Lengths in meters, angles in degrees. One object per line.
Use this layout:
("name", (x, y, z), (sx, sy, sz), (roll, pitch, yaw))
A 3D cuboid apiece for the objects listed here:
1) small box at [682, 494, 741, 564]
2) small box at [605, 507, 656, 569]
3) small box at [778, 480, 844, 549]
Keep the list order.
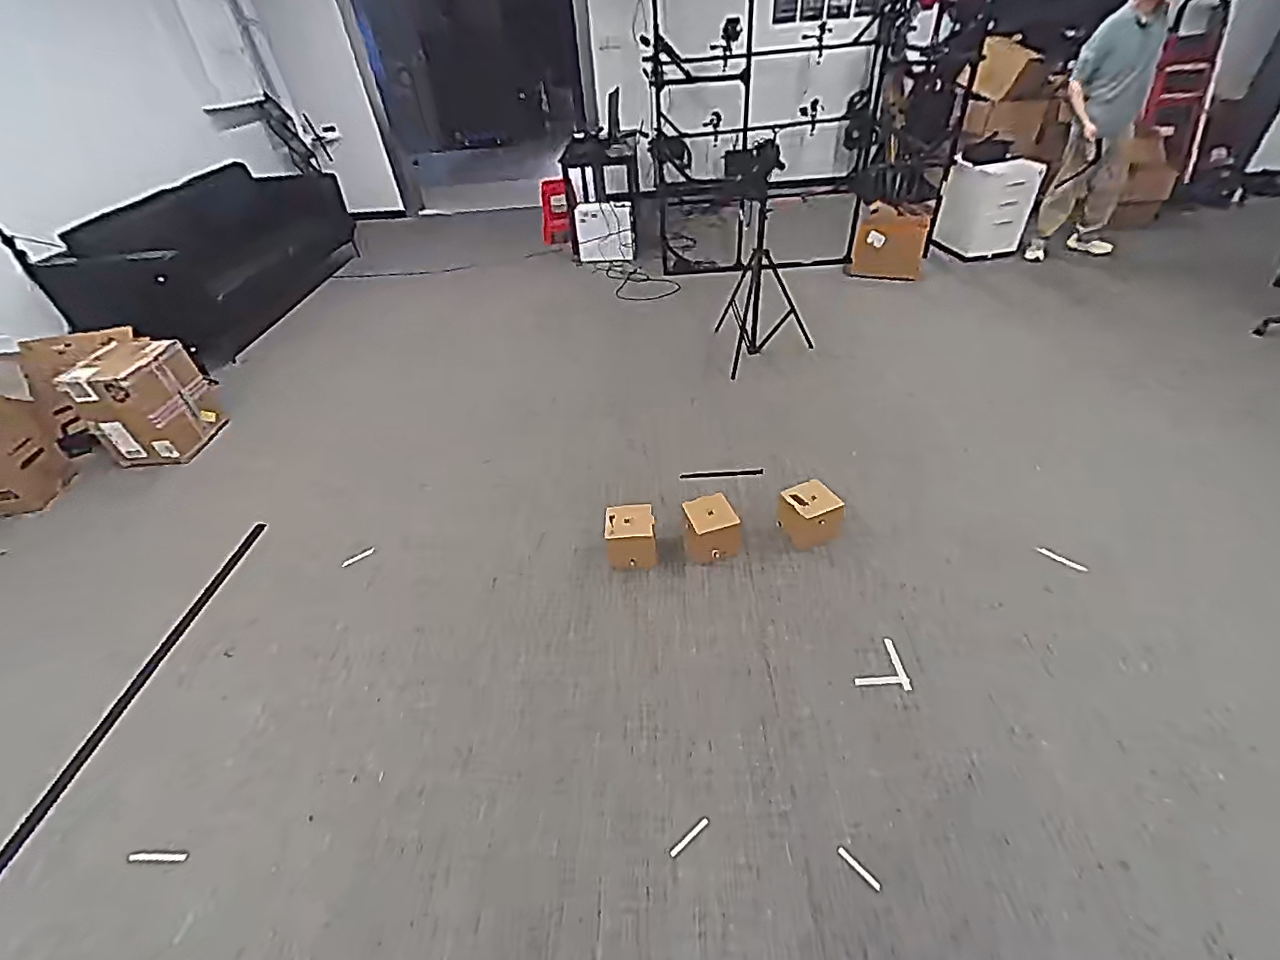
("small box", (0.264, 0.184, 2.020), (0.168, 0.176, 0.179), (-16, 42, -10))
("small box", (-0.031, 0.218, 2.015), (0.179, 0.176, 0.168), (-3, 40, 3))
("small box", (0.634, 0.132, 2.036), (0.179, 0.176, 0.168), (-18, 42, -16))
